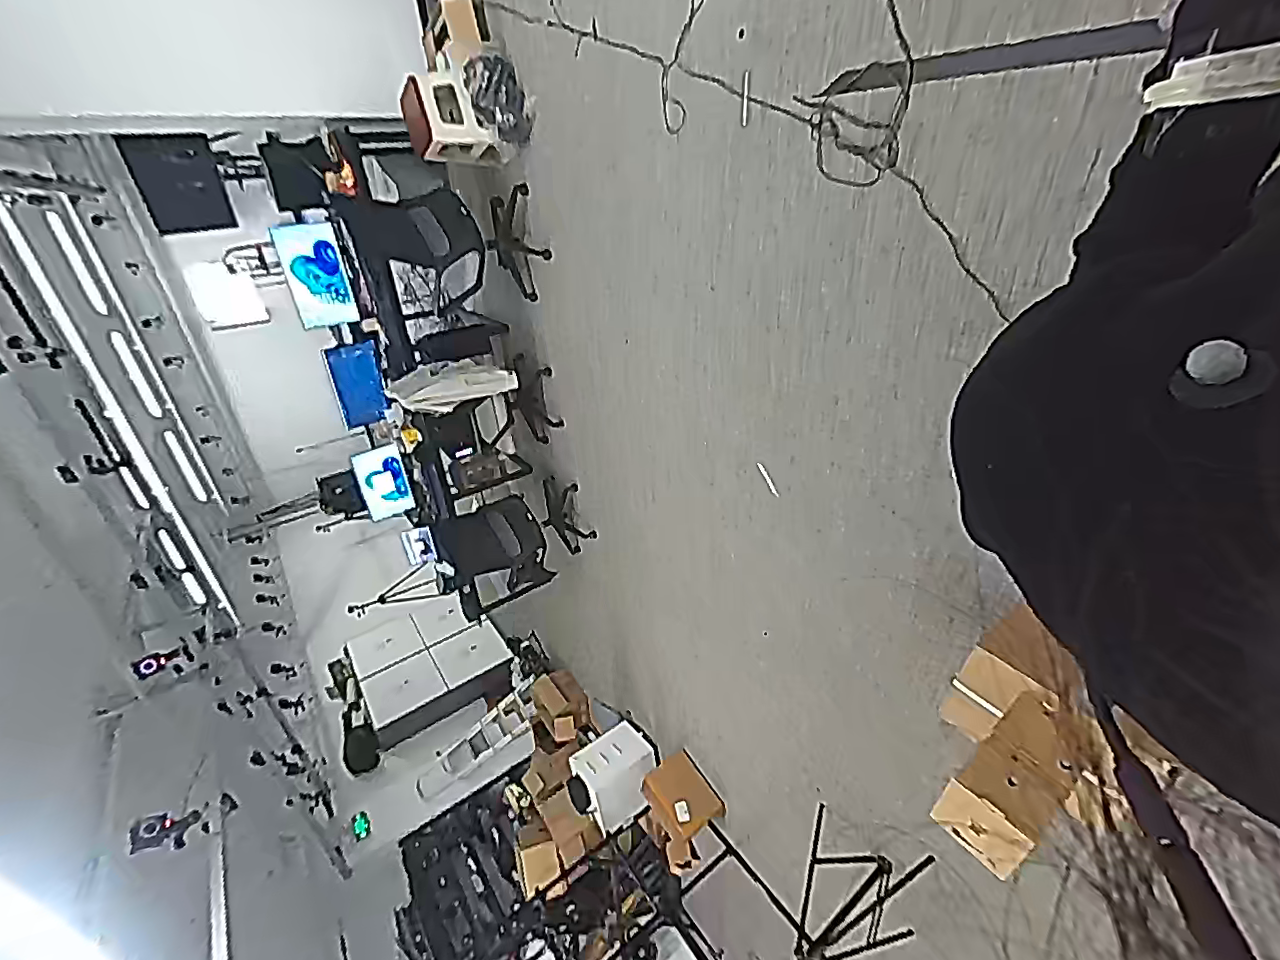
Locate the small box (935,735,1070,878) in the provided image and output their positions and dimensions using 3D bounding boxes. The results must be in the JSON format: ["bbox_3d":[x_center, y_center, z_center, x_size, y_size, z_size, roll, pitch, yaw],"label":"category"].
[{"bbox_3d":[0.786,0.699,1.173,0.168,0.176,0.179,37,138,42],"label":"small box"}]
